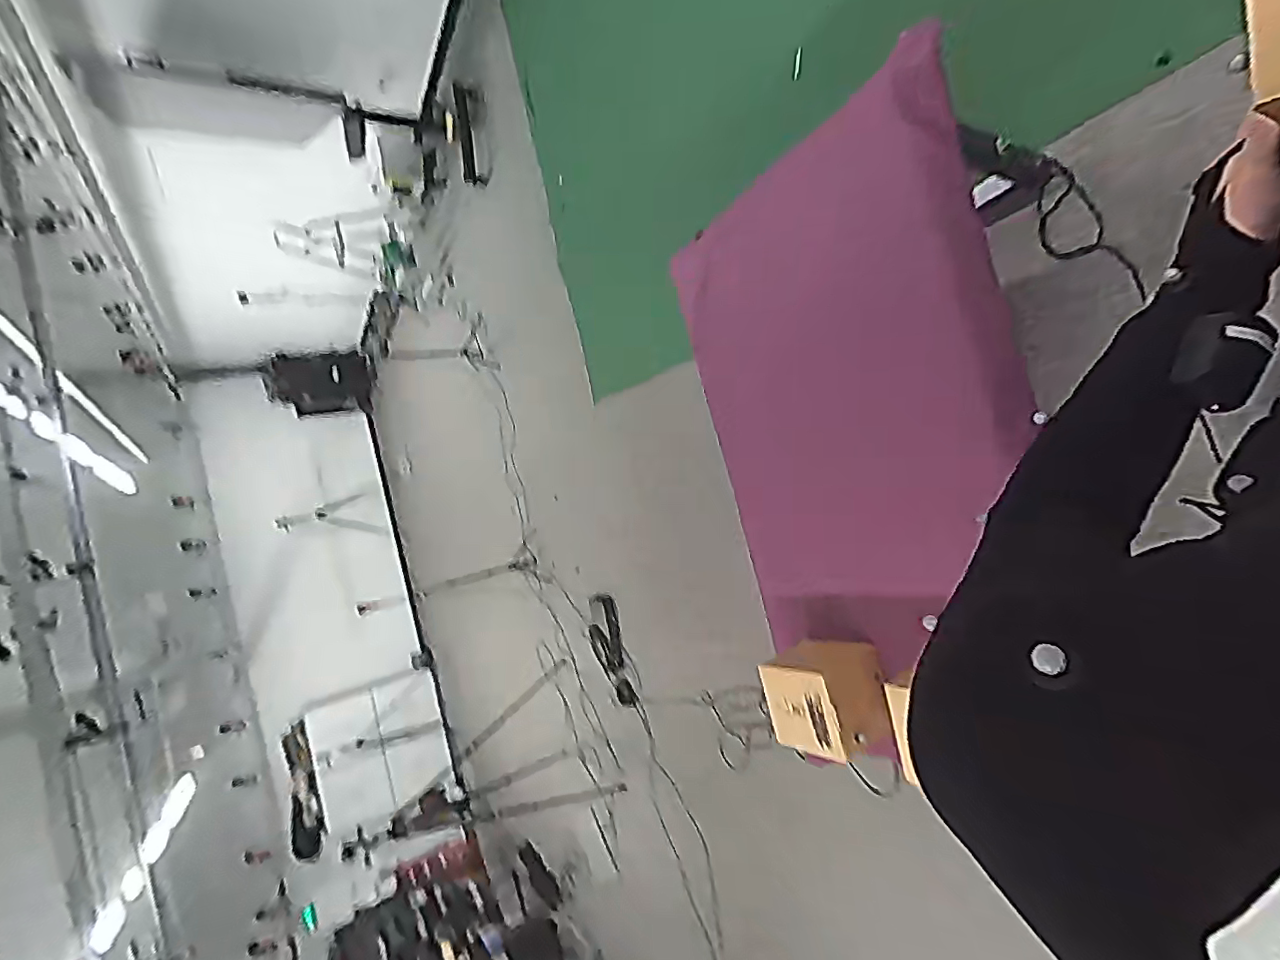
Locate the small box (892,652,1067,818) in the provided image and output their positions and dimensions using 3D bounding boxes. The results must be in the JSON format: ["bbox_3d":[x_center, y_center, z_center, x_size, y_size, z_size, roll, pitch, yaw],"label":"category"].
[{"bbox_3d":[0.547,0.390,0.867,0.179,0.176,0.168,-15,88,57],"label":"small box"}]
